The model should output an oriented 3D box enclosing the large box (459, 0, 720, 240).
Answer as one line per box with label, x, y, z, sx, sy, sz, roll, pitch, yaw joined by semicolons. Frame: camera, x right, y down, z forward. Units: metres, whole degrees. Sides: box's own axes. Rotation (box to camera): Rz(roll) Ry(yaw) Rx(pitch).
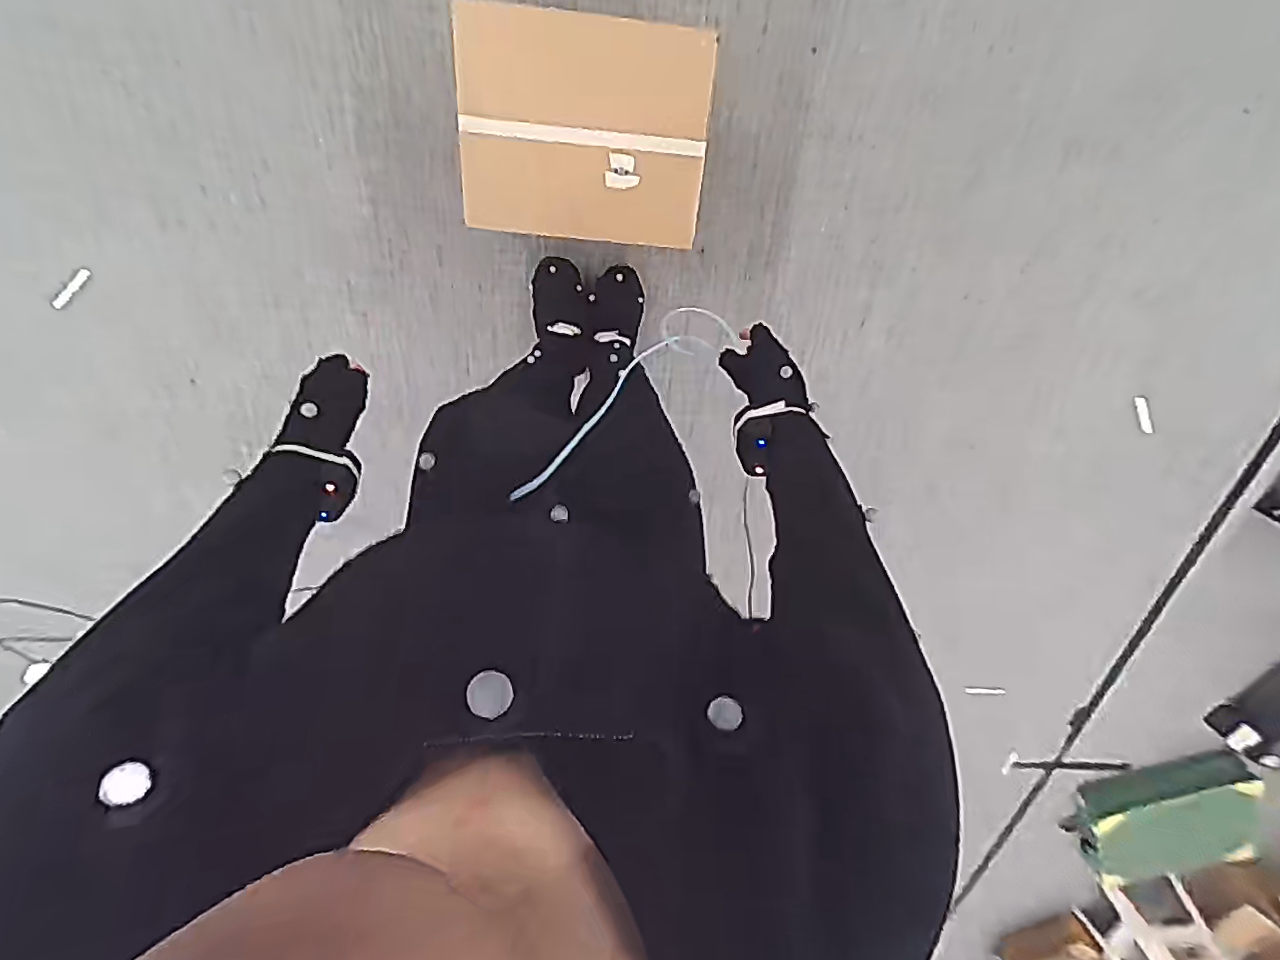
large box;-0.093;-0.649;1.019;0.408;0.320;0.320;4;120;-5
